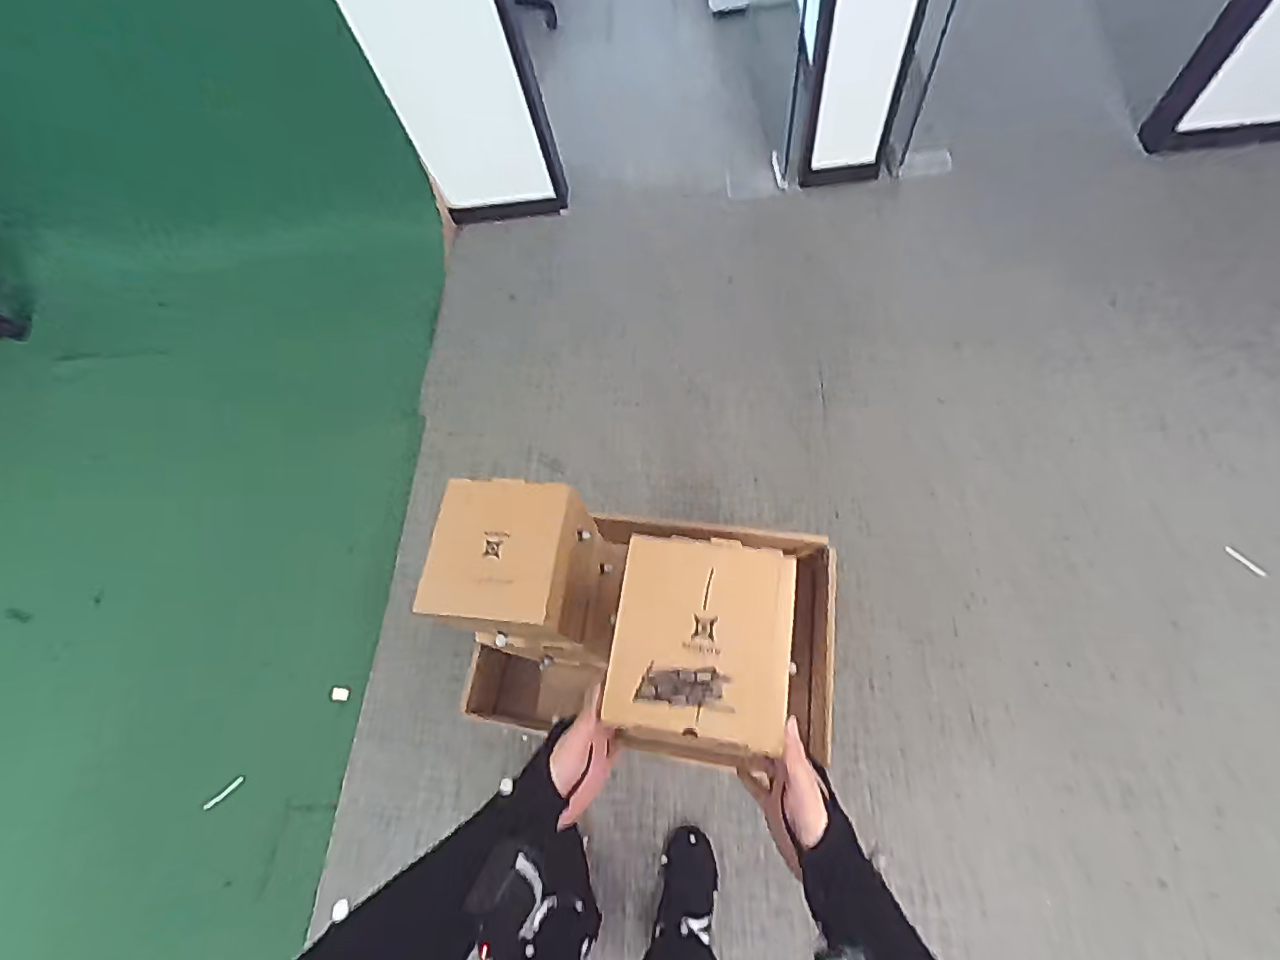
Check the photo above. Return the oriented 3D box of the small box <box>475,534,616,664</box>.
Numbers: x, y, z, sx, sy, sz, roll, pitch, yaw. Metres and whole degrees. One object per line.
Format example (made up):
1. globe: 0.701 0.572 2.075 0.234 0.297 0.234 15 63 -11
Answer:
1. small box: -0.137 0.189 0.863 0.168 0.176 0.179 3 68 9

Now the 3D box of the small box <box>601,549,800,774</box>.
1. small box: 0.063 0.185 0.572 0.168 0.176 0.179 8 72 5

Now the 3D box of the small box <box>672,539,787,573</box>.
1. small box: 0.122 0.207 0.822 0.168 0.176 0.179 7 69 11

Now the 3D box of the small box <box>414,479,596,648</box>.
1. small box: -0.162 0.116 0.719 0.168 0.176 0.179 4 67 10
